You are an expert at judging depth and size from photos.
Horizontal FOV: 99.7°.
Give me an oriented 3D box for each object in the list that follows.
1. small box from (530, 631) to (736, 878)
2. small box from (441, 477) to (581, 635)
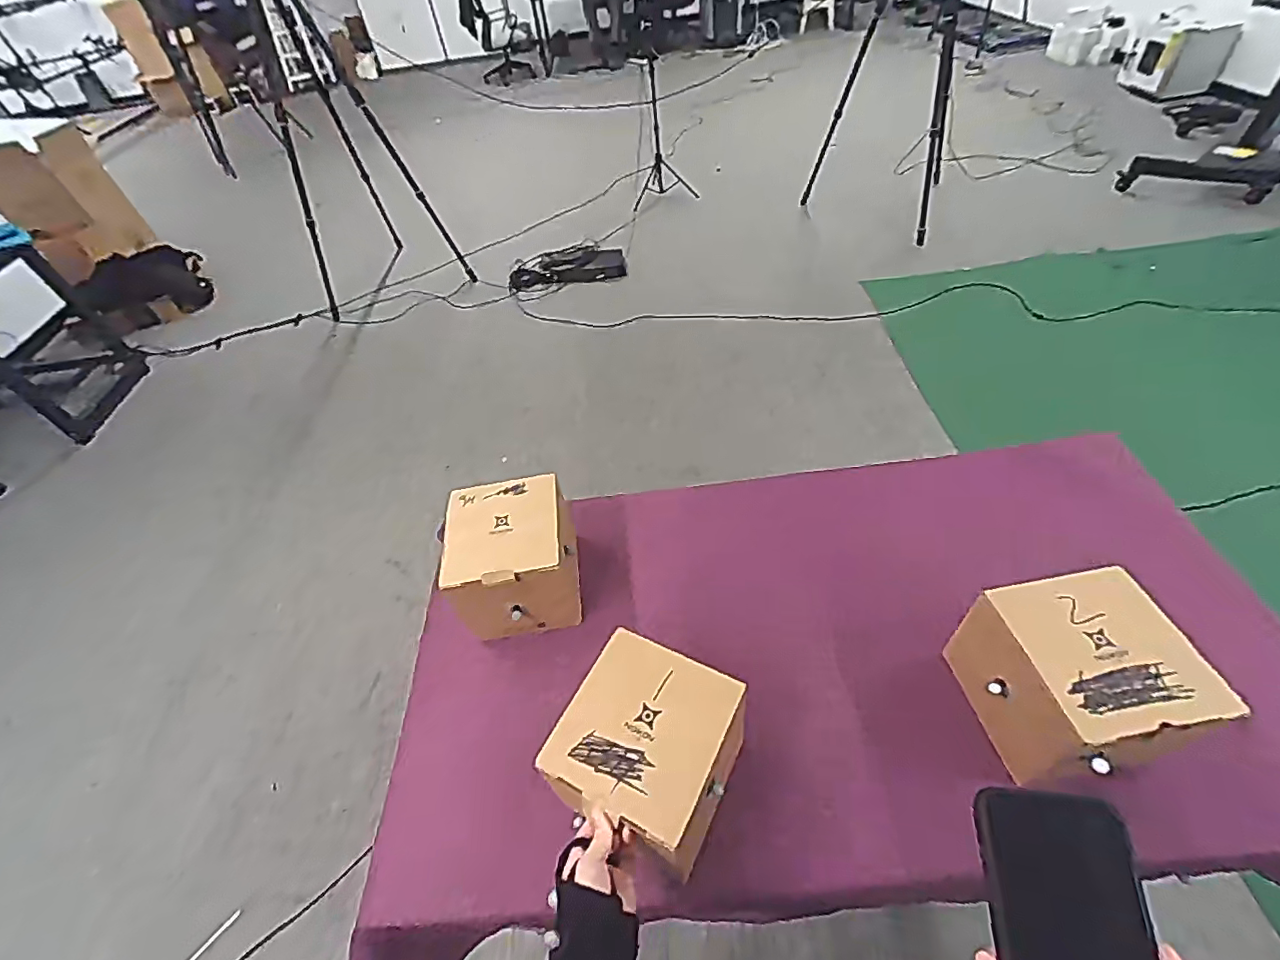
[{"bbox_3d":[0.006,0.316,0.626,0.168,0.176,0.179,17,50,24],"label":"small box"},{"bbox_3d":[-0.189,0.124,0.835,0.168,0.176,0.179,-10,49,-1],"label":"small box"}]
